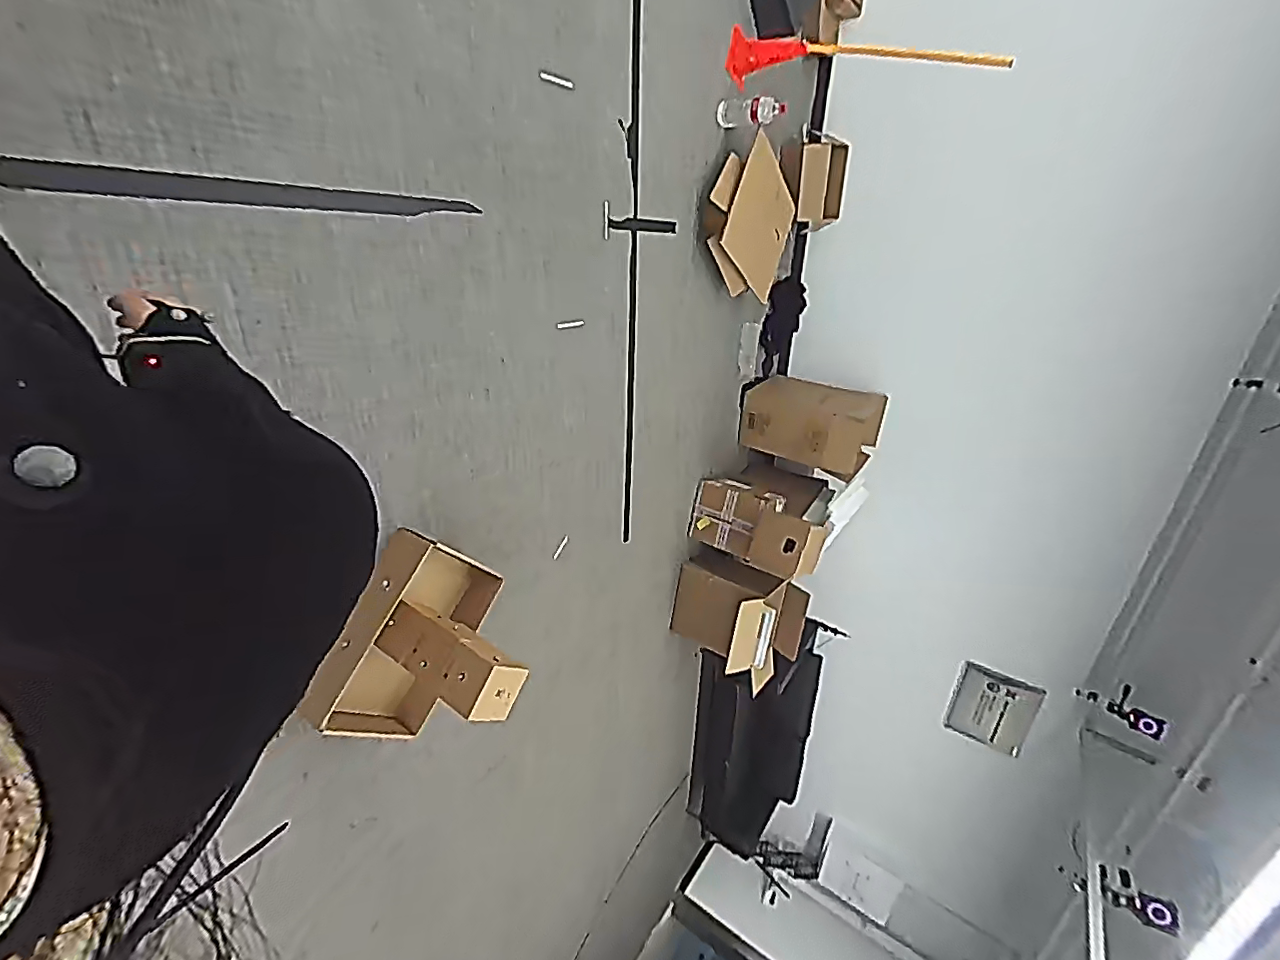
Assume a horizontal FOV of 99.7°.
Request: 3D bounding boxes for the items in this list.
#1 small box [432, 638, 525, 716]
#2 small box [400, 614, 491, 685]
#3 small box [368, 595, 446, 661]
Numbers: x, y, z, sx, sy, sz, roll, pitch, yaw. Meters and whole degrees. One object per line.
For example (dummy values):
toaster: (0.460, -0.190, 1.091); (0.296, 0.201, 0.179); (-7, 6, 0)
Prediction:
small box: (-0.491, 0.594, 1.638); (0.168, 0.176, 0.179); (-64, 148, -9)
small box: (-0.623, 0.543, 1.725); (0.168, 0.176, 0.179); (-64, 150, -10)
small box: (-0.758, 0.502, 1.804); (0.168, 0.176, 0.179); (-63, 148, -14)
